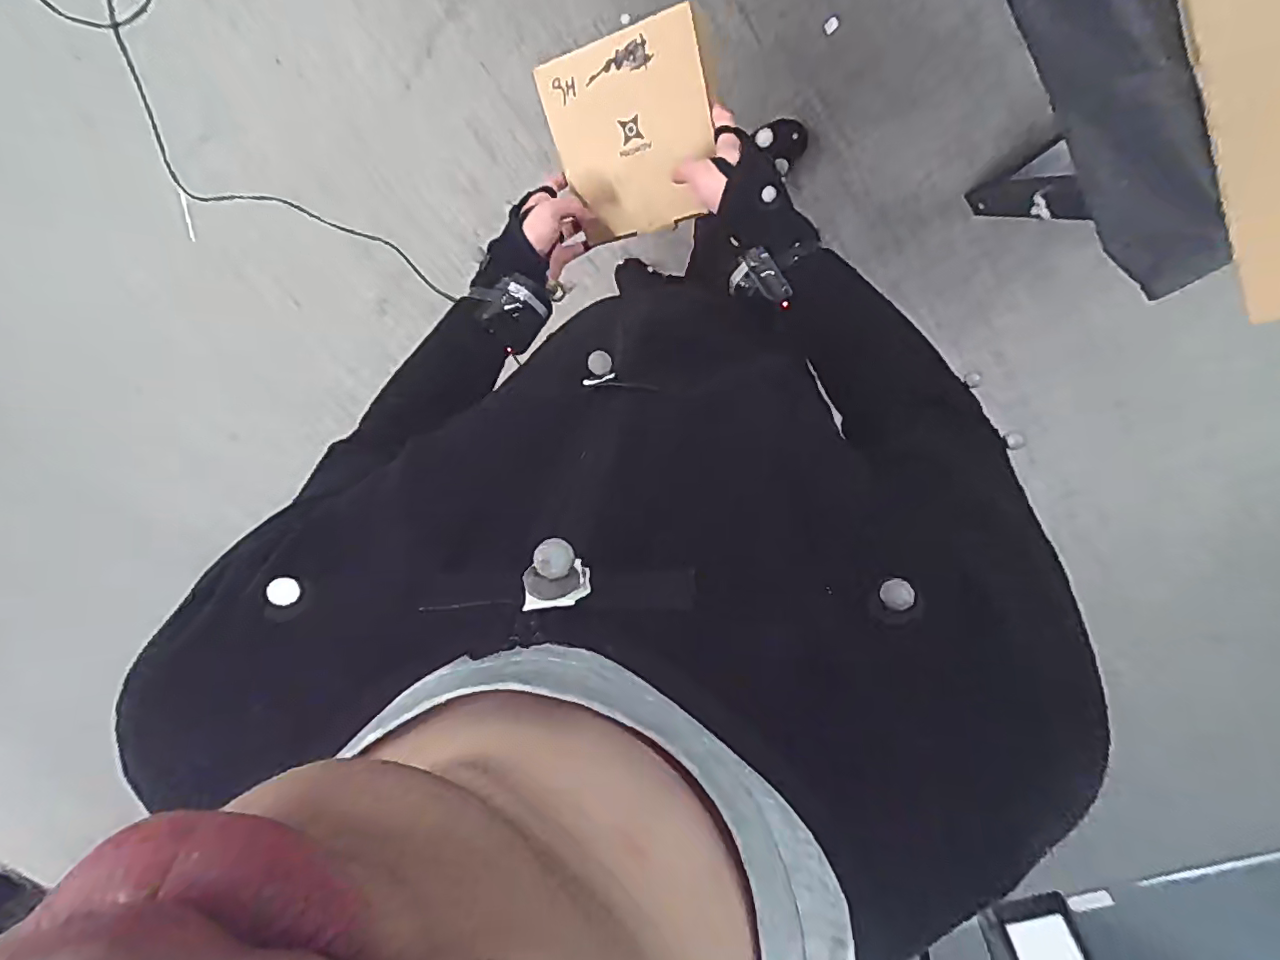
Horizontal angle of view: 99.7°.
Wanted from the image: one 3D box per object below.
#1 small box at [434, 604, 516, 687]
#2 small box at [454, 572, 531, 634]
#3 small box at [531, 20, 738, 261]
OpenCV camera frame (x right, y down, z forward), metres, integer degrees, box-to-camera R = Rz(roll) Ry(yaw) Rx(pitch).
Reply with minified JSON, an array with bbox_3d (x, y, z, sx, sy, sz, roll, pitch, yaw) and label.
[{"bbox_3d":[-0.528,0.537,1.771,0.179,0.176,0.168,-30,110,23],"label":"small box"},{"bbox_3d":[-0.513,0.460,1.912,0.179,0.176,0.168,-32,111,22],"label":"small box"},{"bbox_3d":[0.010,-0.375,0.607,0.168,0.176,0.179,-8,124,20],"label":"small box"}]
